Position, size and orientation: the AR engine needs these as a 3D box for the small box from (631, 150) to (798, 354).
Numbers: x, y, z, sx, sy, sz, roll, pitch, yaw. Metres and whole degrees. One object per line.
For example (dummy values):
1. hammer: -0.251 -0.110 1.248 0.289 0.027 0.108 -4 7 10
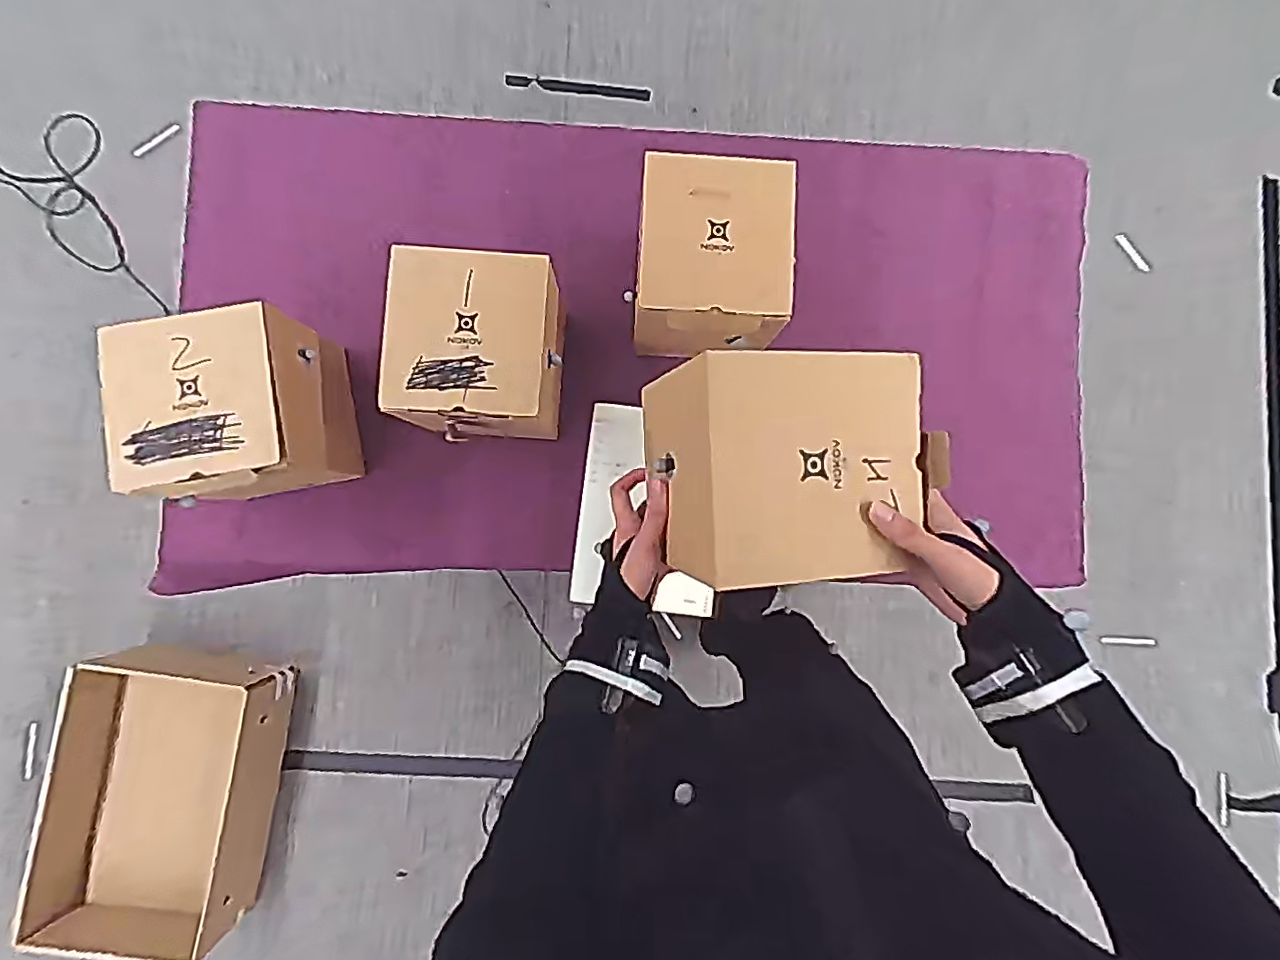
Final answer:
1. small box: 0.077 -0.252 0.647 0.168 0.176 0.179 4 86 -3

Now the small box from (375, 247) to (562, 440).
1. small box: -0.184 -0.144 0.631 0.168 0.176 0.179 3 86 -2

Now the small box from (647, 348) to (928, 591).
1. small box: 0.107 -0.010 0.456 0.179 0.176 0.168 -3 92 -16
